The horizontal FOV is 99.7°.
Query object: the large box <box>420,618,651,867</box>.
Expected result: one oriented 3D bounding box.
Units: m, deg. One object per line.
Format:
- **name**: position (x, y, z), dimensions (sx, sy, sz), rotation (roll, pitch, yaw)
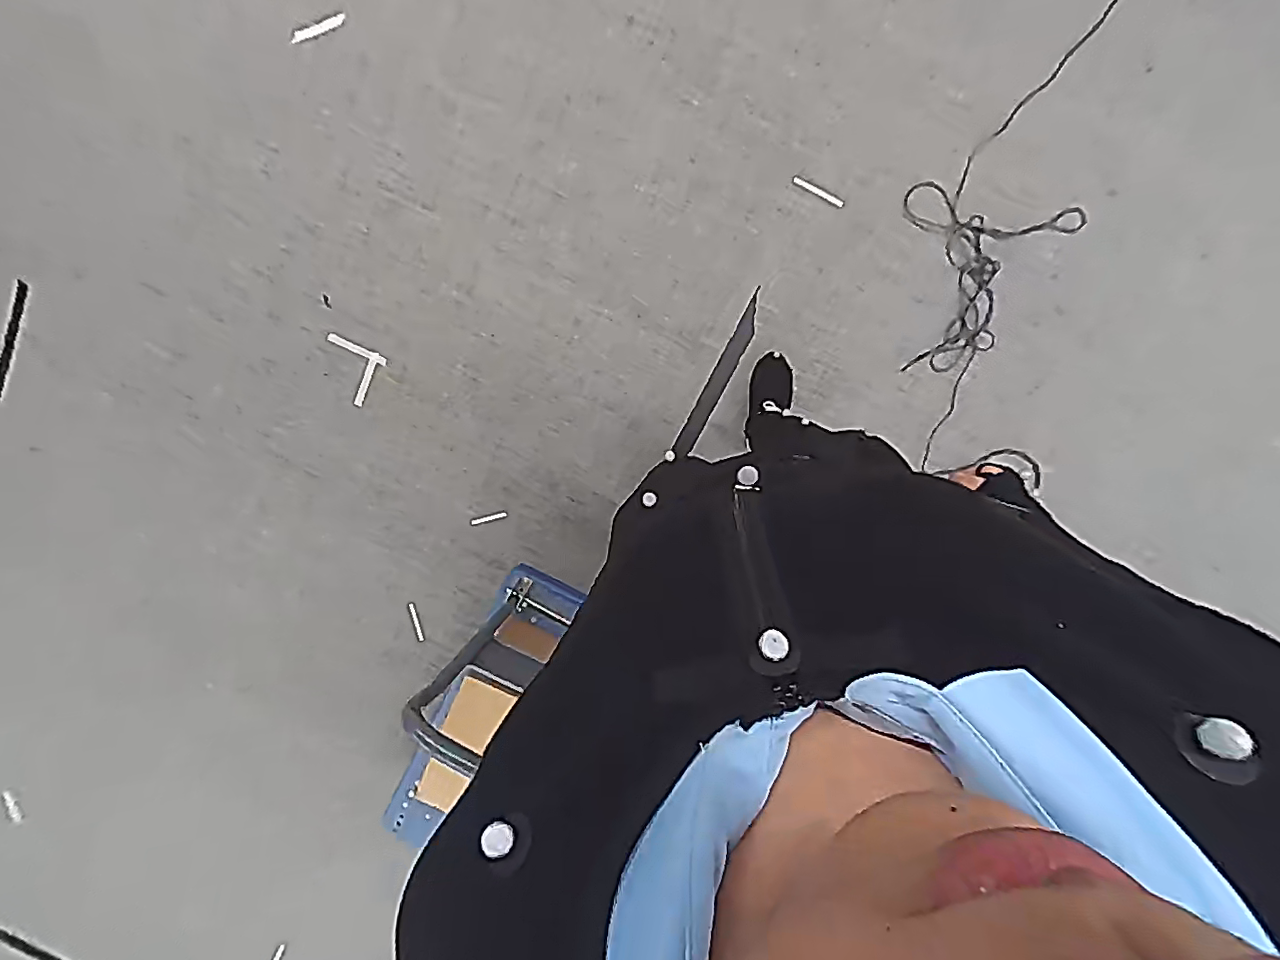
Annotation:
- **large box**: position (-0.219, 0.589, 1.273), dimensions (0.408, 0.320, 0.320), rotation (25, 98, 1)
